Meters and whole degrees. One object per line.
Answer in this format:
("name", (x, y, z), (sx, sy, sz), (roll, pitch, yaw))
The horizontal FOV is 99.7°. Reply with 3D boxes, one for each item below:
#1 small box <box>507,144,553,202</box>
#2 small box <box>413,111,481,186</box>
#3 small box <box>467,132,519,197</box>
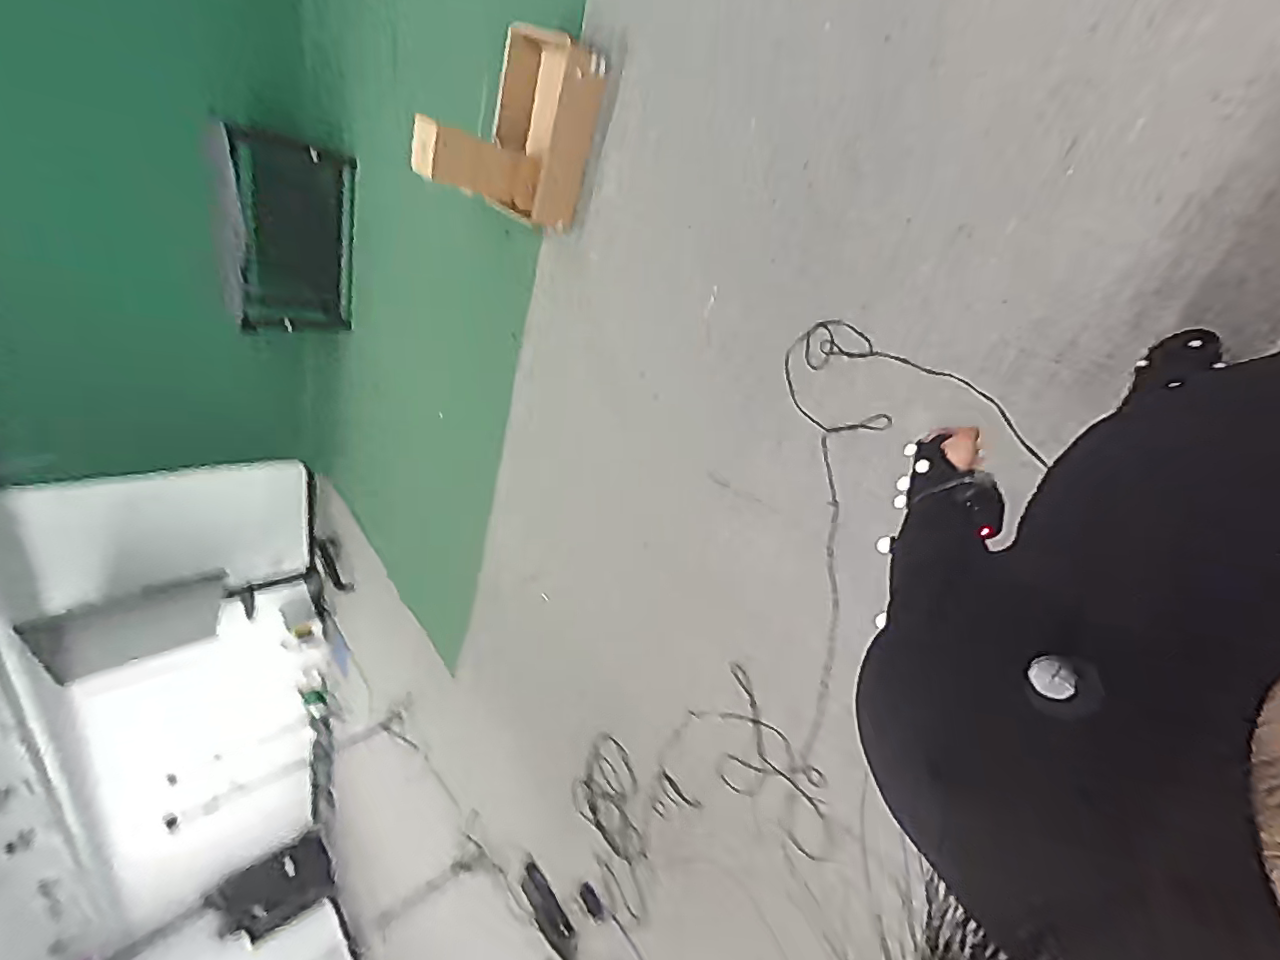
("small box", (-0.482, -1.254, 2.207), (0.179, 0.176, 0.168), (40, 124, 31))
("small box", (-0.700, -1.202, 1.966), (0.168, 0.176, 0.179), (41, 125, 32))
("small box", (-0.590, -1.219, 2.089), (0.168, 0.176, 0.179), (40, 123, 31))
